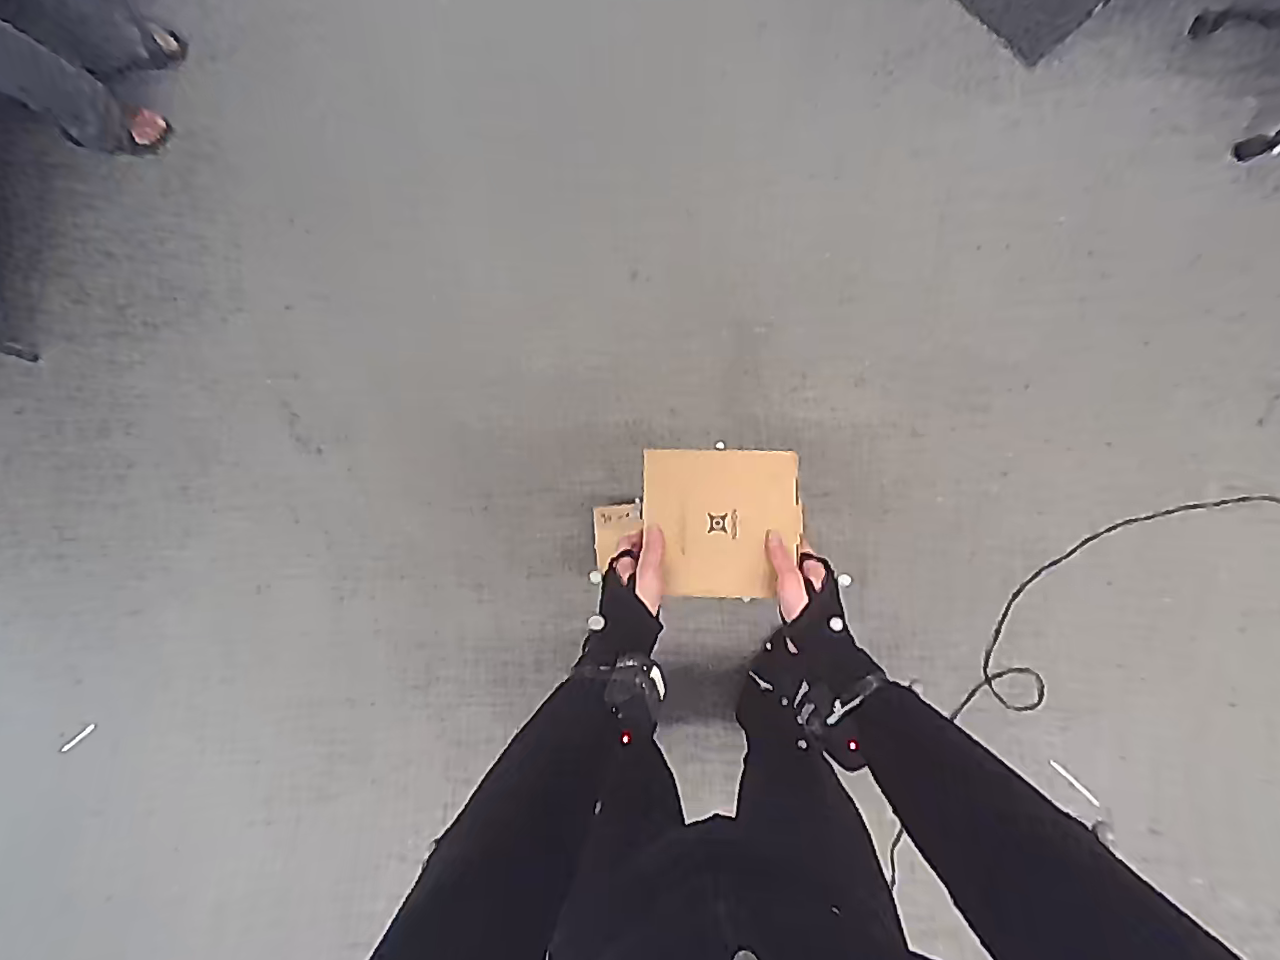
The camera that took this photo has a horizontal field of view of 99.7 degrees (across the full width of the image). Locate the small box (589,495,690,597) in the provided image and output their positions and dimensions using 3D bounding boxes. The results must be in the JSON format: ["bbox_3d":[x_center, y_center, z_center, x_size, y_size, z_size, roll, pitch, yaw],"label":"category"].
[{"bbox_3d":[0.007,0.159,1.280,0.179,0.176,0.168,-35,80,0],"label":"small box"}]

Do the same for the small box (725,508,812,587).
[{"bbox_3d":[0.295,0.157,1.266,0.179,0.176,0.168,3,85,5],"label":"small box"}]
